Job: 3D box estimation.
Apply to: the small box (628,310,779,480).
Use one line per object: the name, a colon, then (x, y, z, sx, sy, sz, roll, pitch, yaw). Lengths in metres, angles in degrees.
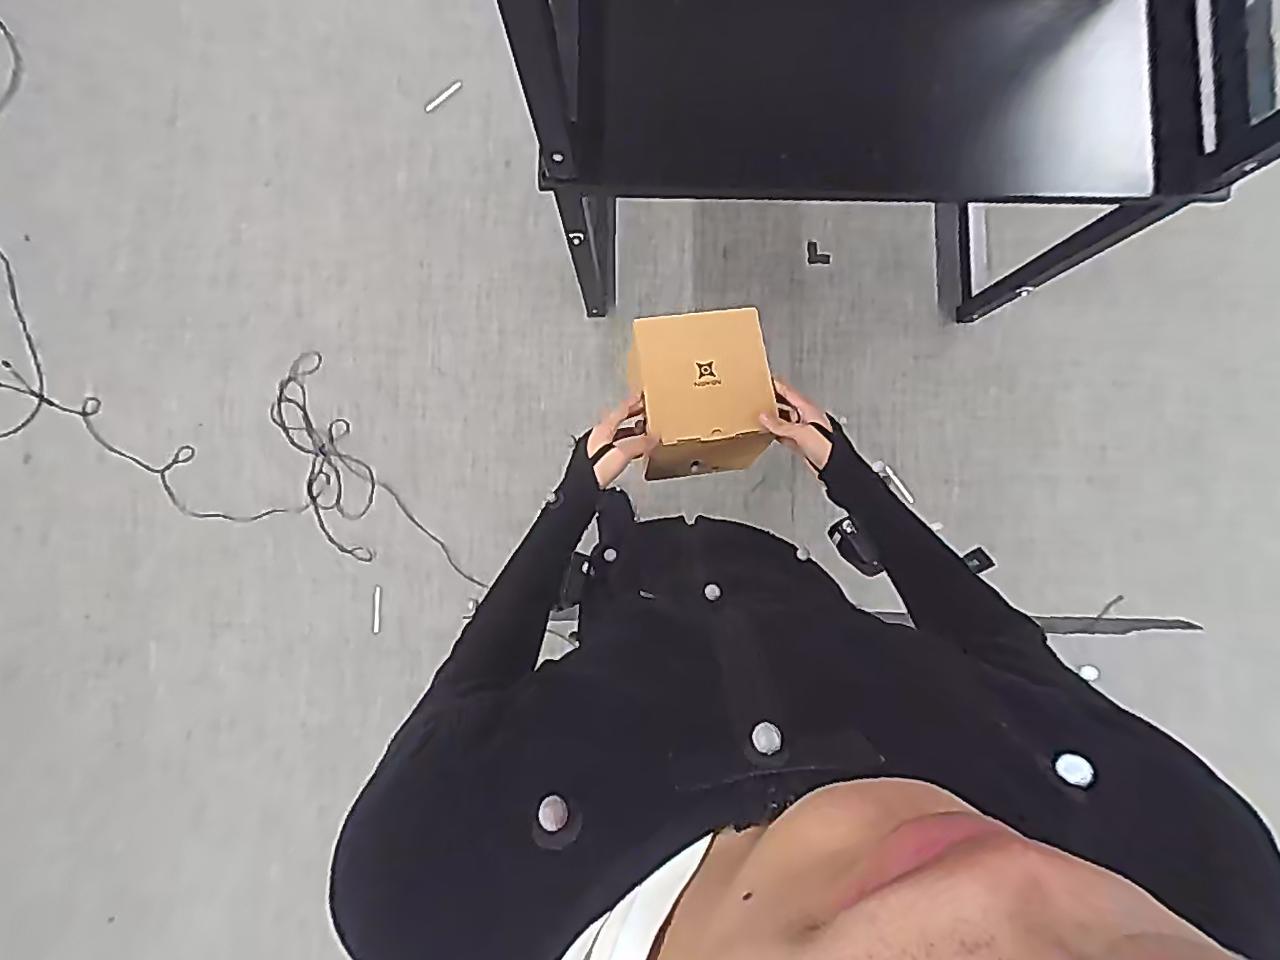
small box: (0.076, -0.112, 0.760, 0.168, 0.176, 0.179, -7, 76, -5)
